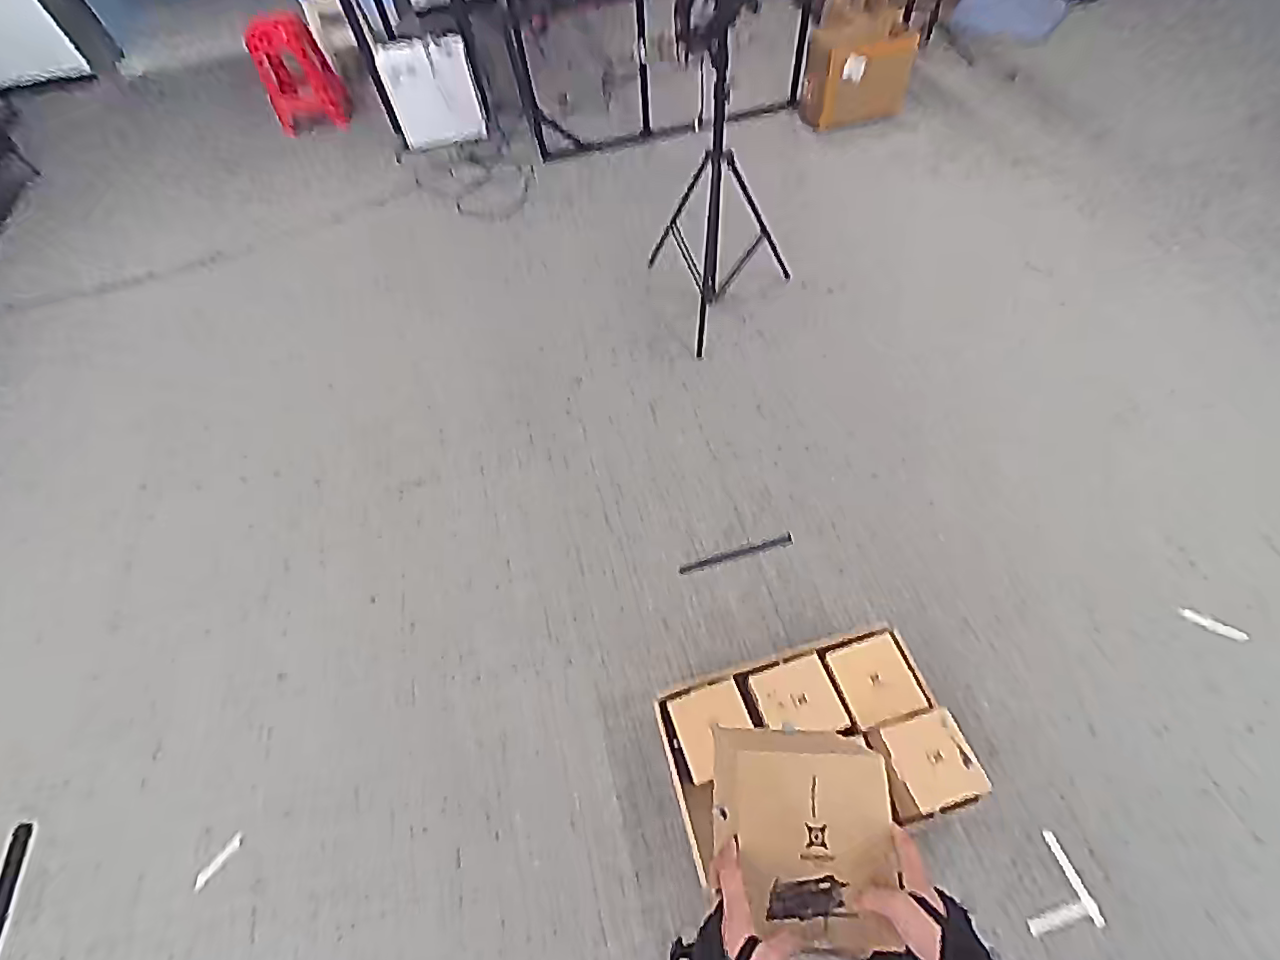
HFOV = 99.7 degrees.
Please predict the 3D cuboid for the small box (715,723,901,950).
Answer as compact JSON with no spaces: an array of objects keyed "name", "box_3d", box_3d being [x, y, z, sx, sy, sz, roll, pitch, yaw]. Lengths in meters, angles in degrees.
[{"name":"small box","box_3d":[0.182,0.397,0.634,0.168,0.176,0.179,3,74,0]}]
